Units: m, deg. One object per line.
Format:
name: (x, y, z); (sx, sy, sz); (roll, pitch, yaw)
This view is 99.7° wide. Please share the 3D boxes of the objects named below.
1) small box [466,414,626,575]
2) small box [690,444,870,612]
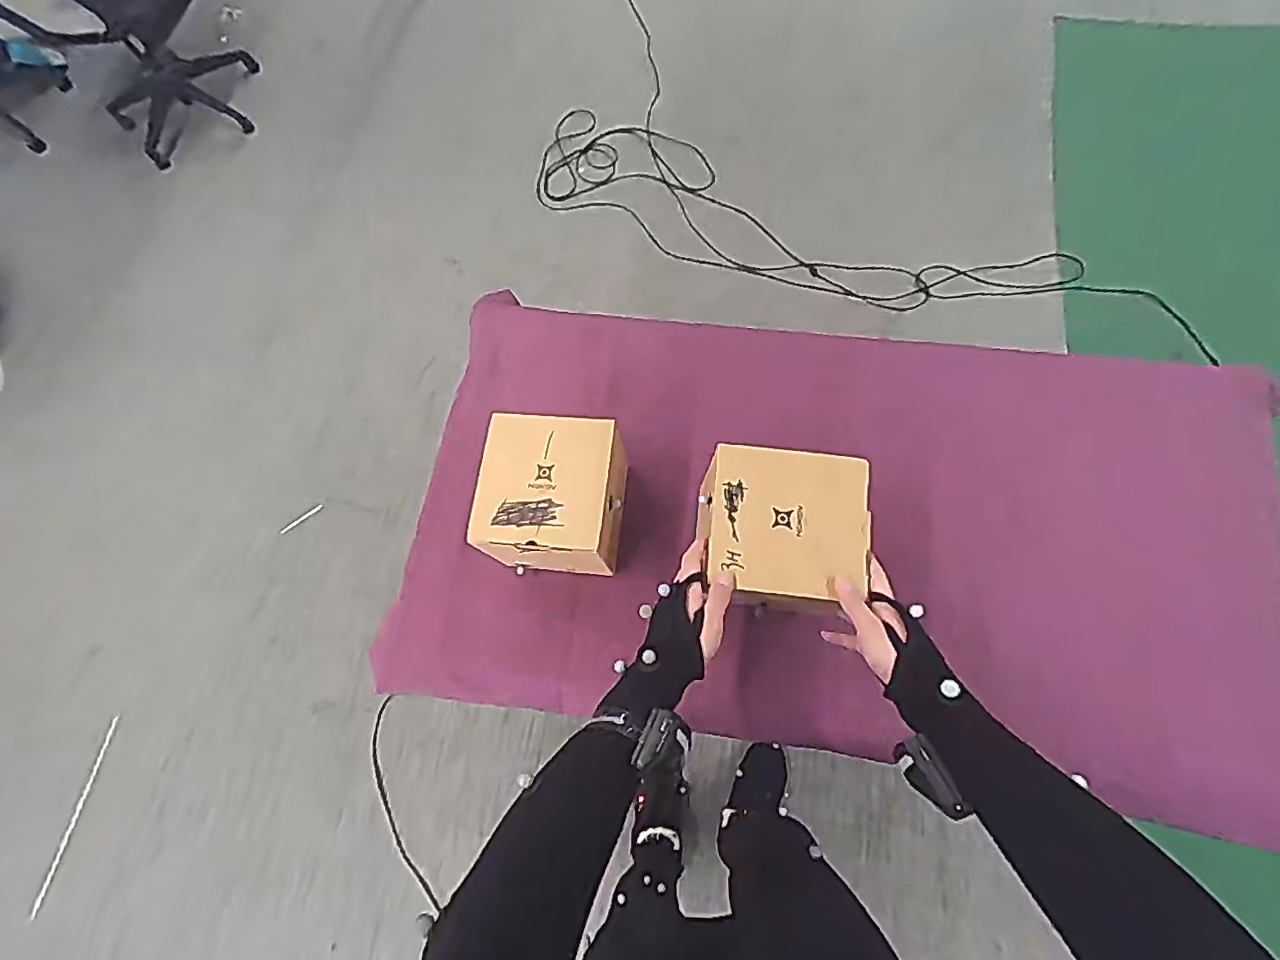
small box: (-0.115, 0.028, 0.748); (0.168, 0.176, 0.179); (5, 70, 6)
small box: (0.165, 0.070, 0.674); (0.179, 0.176, 0.168); (7, 73, 2)
